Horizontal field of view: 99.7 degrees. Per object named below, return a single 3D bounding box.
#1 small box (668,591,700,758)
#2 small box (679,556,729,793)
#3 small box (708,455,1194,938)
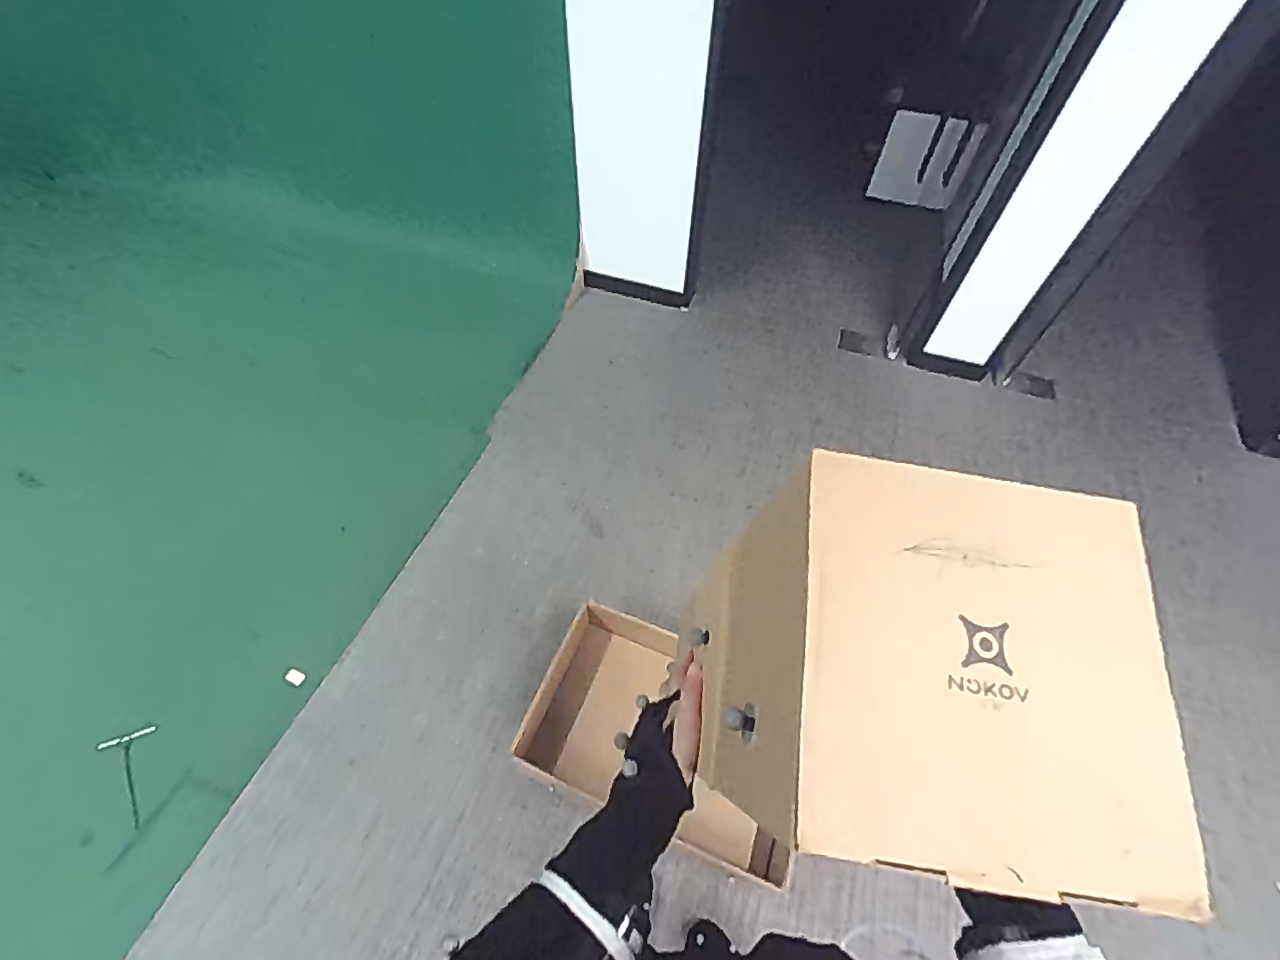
[{"bbox_3d":[0.127,0.232,0.612,0.179,0.176,0.168,7,68,2],"label":"small box"},{"bbox_3d":[0.130,0.174,0.460,0.179,0.176,0.168,7,68,1],"label":"small box"},{"bbox_3d":[0.138,0.110,0.310,0.168,0.176,0.179,10,67,1],"label":"small box"}]
